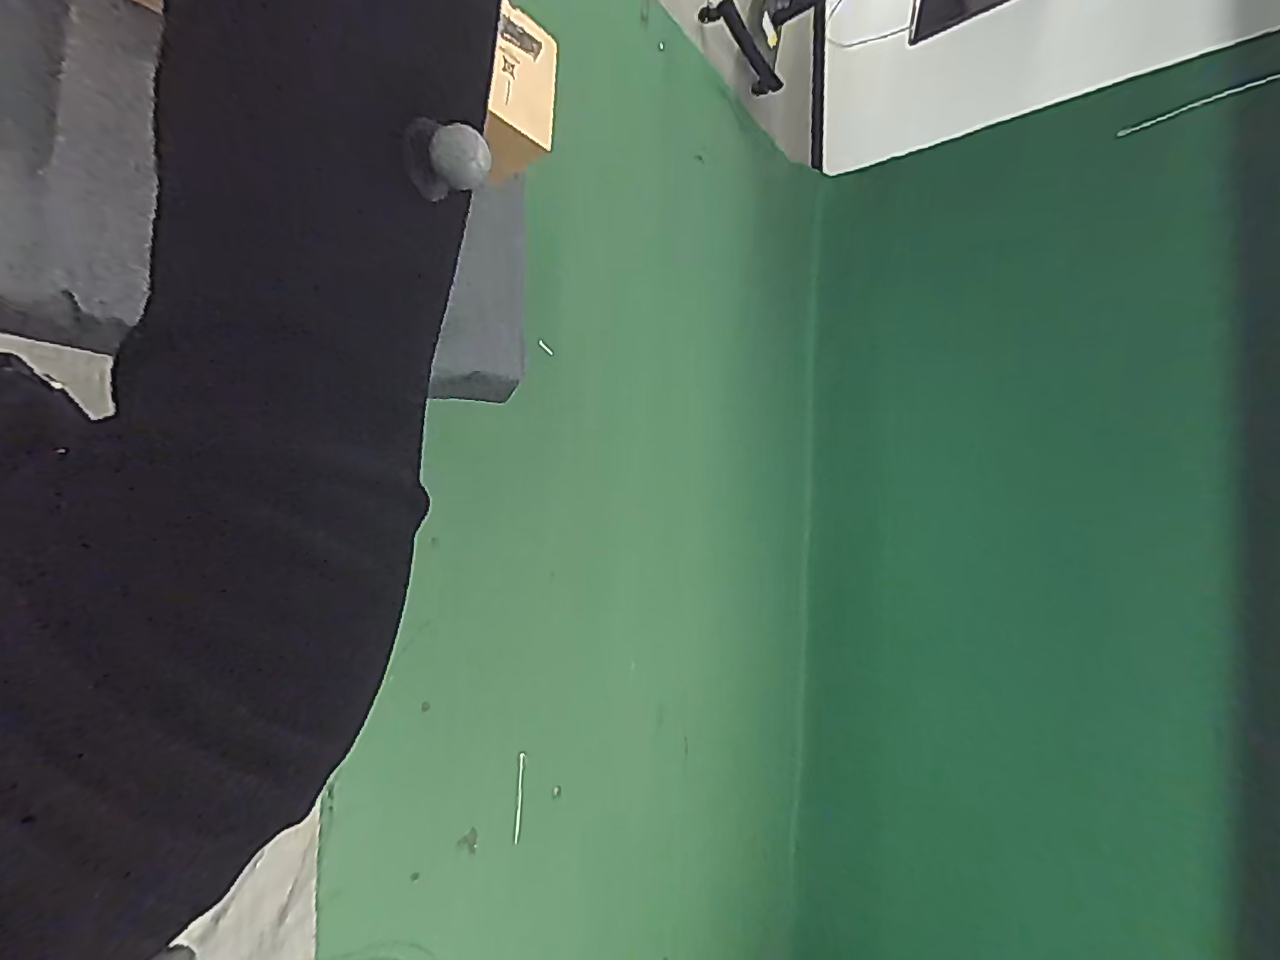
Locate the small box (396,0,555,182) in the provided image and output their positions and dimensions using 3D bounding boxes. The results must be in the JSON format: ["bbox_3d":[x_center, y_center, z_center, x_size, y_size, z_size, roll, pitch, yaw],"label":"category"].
[{"bbox_3d":[-0.249,-0.594,0.819,0.168,0.176,0.179,5,88,-51],"label":"small box"}]
